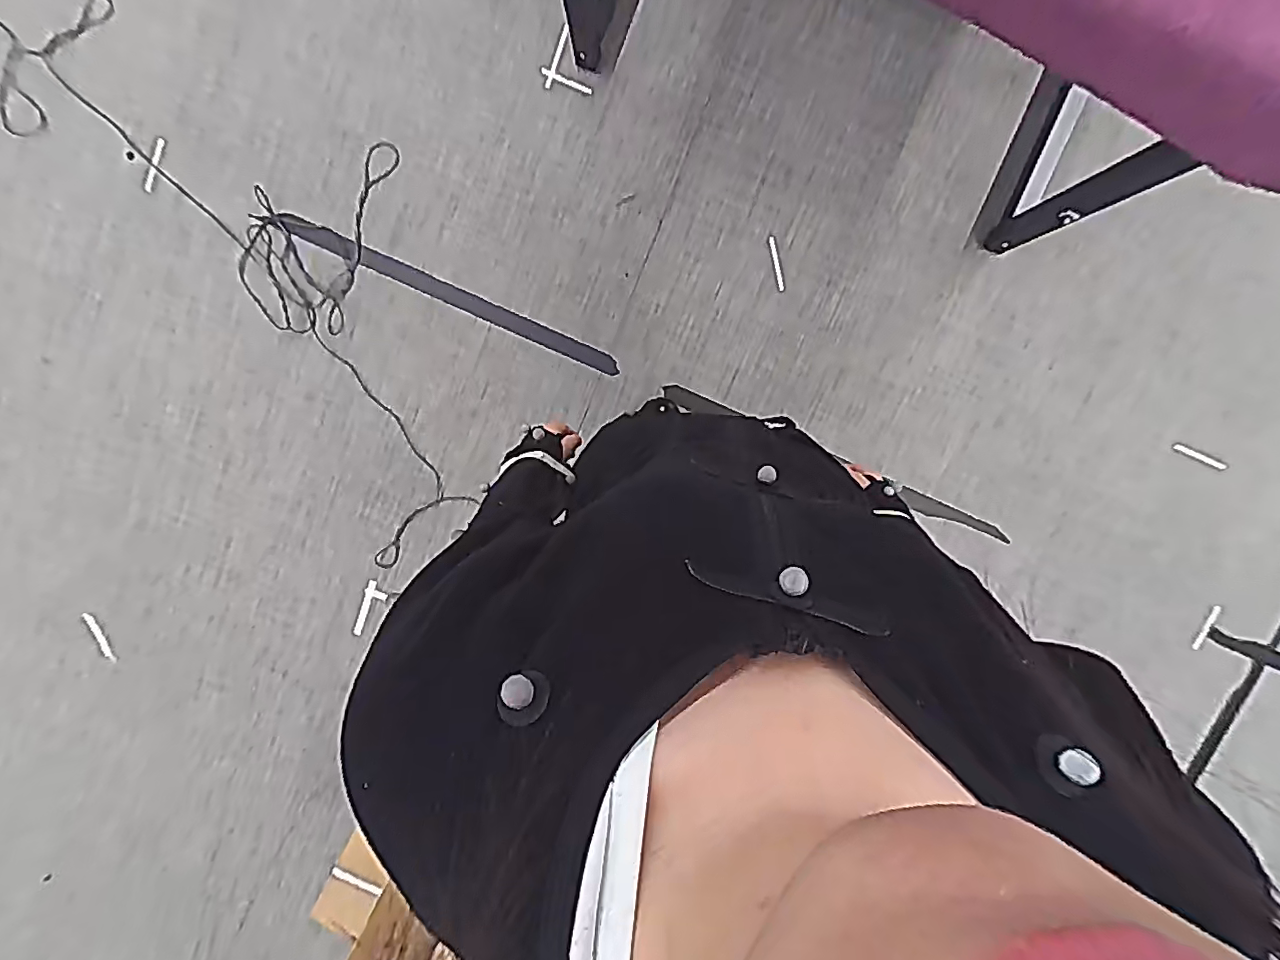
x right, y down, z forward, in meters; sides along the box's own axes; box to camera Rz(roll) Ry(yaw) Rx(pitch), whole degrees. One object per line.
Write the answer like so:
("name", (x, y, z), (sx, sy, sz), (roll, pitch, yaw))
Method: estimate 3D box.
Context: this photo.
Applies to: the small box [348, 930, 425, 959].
("small box", (-0.552, 1.075, 1.091), (0.168, 0.176, 0.179), (28, 97, -3))
